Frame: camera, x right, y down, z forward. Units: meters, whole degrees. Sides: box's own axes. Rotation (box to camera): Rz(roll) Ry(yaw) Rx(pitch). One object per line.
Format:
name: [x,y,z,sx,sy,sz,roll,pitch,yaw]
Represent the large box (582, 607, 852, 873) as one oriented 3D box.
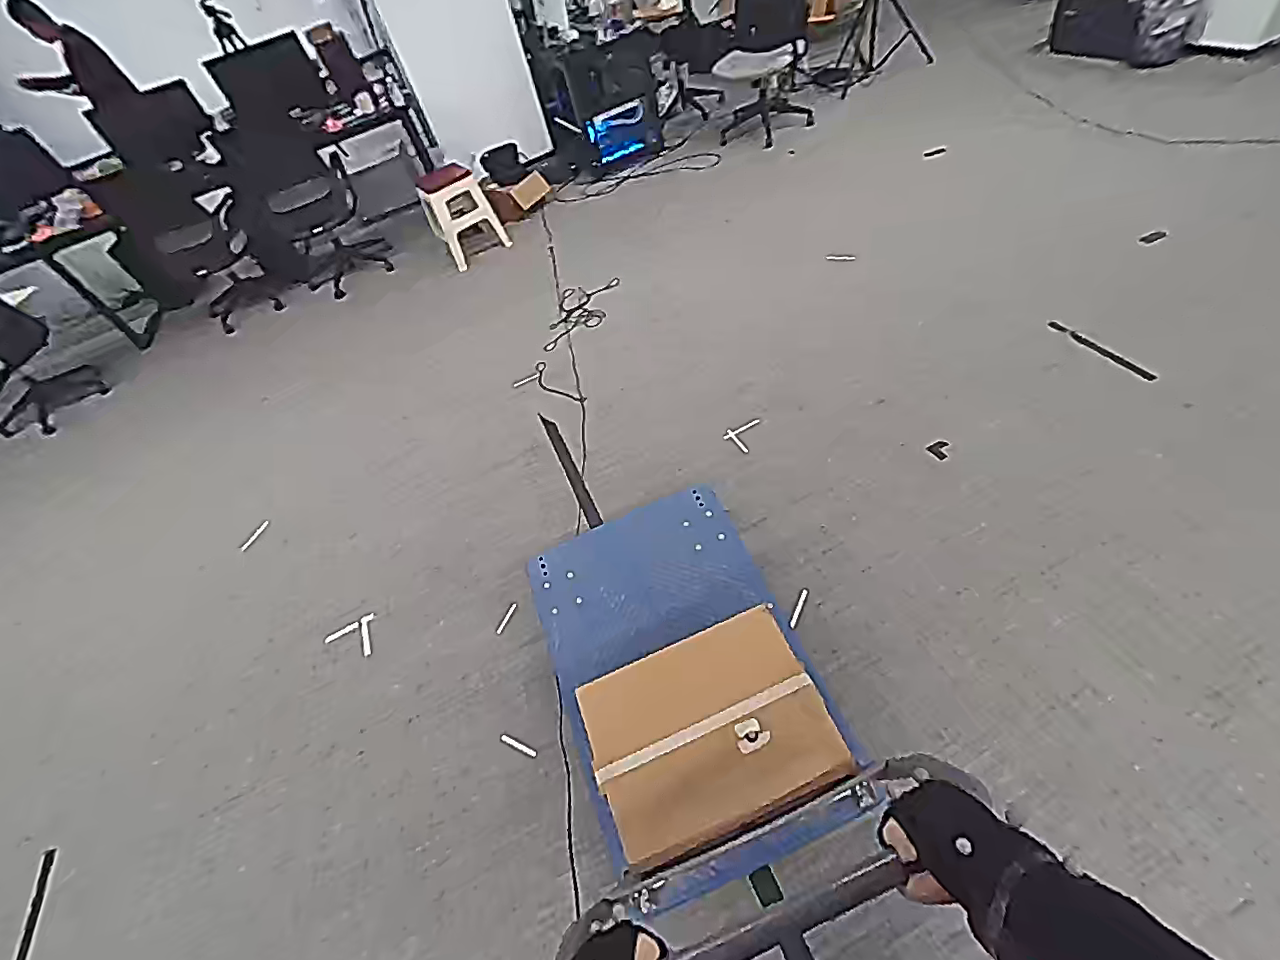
large box: [0.145,0.524,1.090,0.408,0.320,0.320,-23,56,-5]
